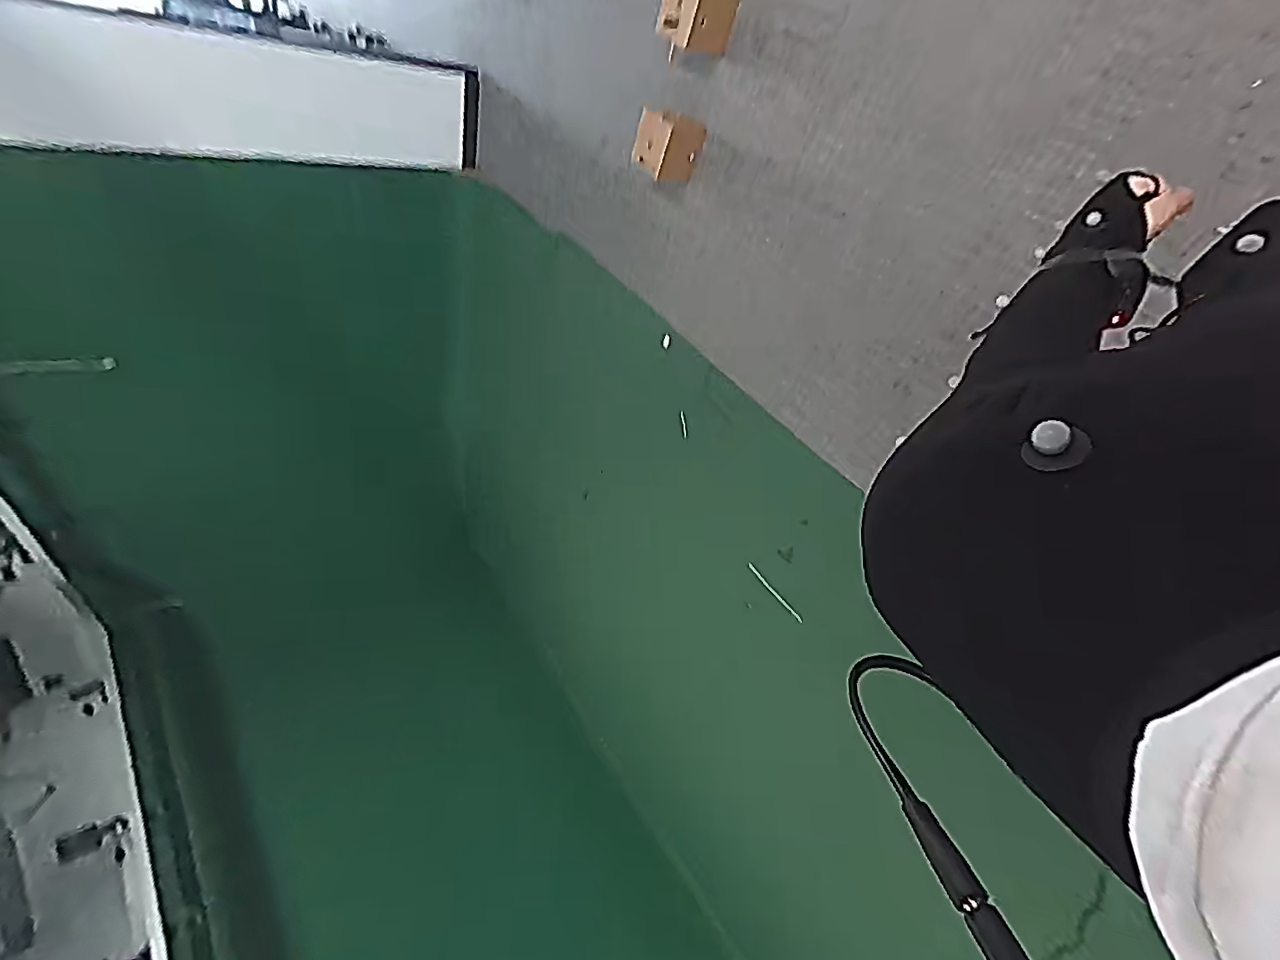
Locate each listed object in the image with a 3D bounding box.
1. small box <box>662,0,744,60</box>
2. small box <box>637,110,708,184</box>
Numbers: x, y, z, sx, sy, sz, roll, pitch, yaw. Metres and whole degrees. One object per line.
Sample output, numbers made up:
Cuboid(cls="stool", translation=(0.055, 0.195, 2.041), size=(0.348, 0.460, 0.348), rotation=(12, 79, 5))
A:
Cuboid(cls="small box", translation=(0.202, -1.480, 1.725), size=(0.168, 0.176, 0.179), rotation=(50, 139, 26))
Cuboid(cls="small box", translation=(0.122, -1.201, 1.961), size=(0.168, 0.176, 0.179), rotation=(51, 139, 25))
